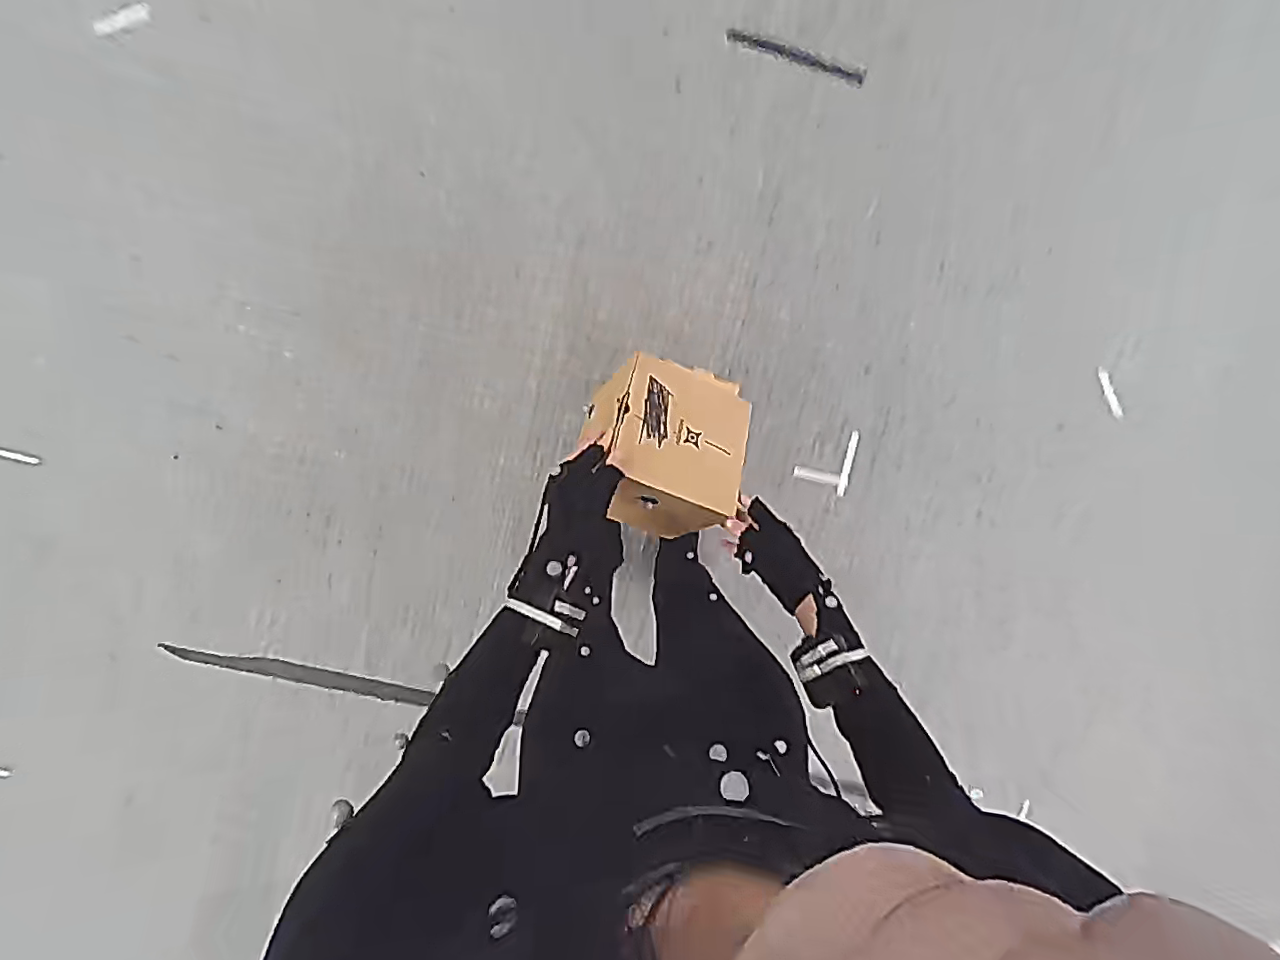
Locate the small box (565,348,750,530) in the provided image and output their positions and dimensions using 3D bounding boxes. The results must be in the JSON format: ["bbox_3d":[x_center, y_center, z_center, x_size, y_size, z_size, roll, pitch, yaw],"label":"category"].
[{"bbox_3d":[0.018,-0.040,0.720,0.179,0.176,0.168,20,69,-21],"label":"small box"}]
